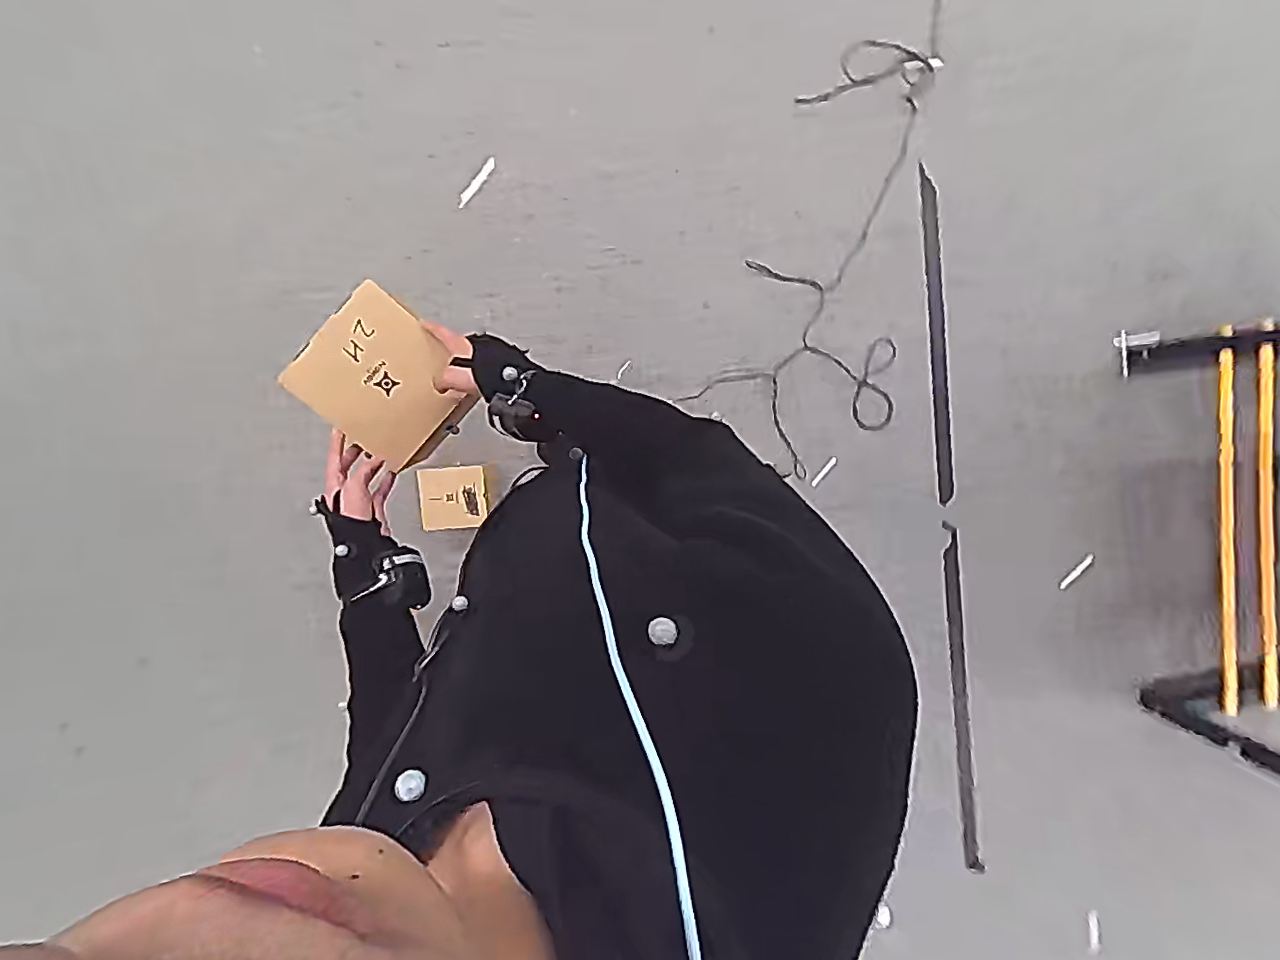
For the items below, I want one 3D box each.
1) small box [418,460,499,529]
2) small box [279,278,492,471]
[{"bbox_3d":[-0.499,0.035,1.511,0.179,0.176,0.168,-5,95,-3],"label":"small box"},{"bbox_3d":[-0.321,-0.139,0.730,0.179,0.176,0.168,43,91,-13],"label":"small box"}]
